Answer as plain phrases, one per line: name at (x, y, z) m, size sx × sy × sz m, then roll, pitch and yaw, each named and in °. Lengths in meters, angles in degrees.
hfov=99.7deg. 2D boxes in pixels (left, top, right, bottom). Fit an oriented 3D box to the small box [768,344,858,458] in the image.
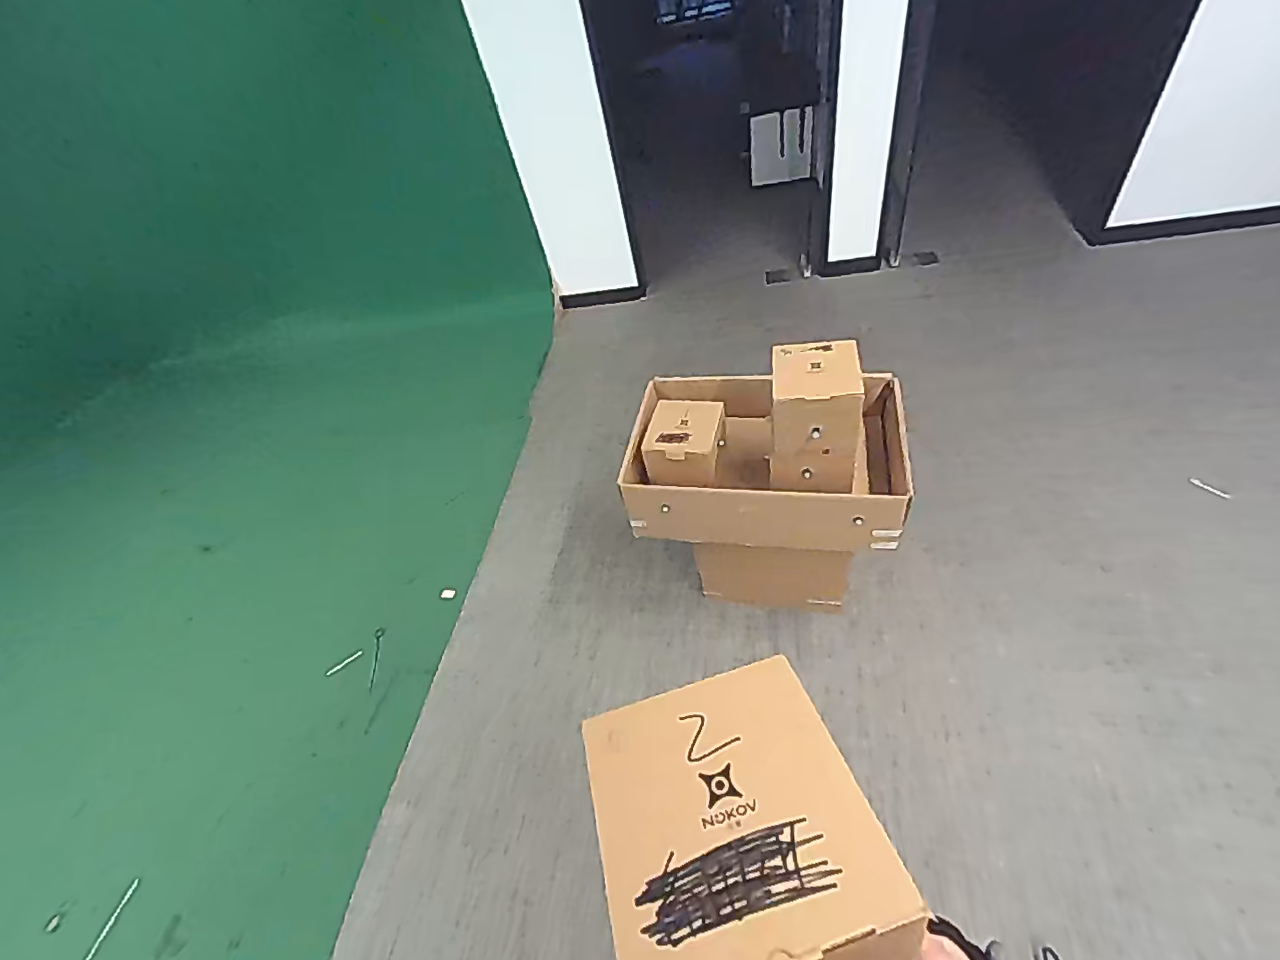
small box at (0.354, -0.158, 1.122) m, size 0.168 × 0.176 × 0.179 m, roll 0°, pitch 49°, yaw 14°
